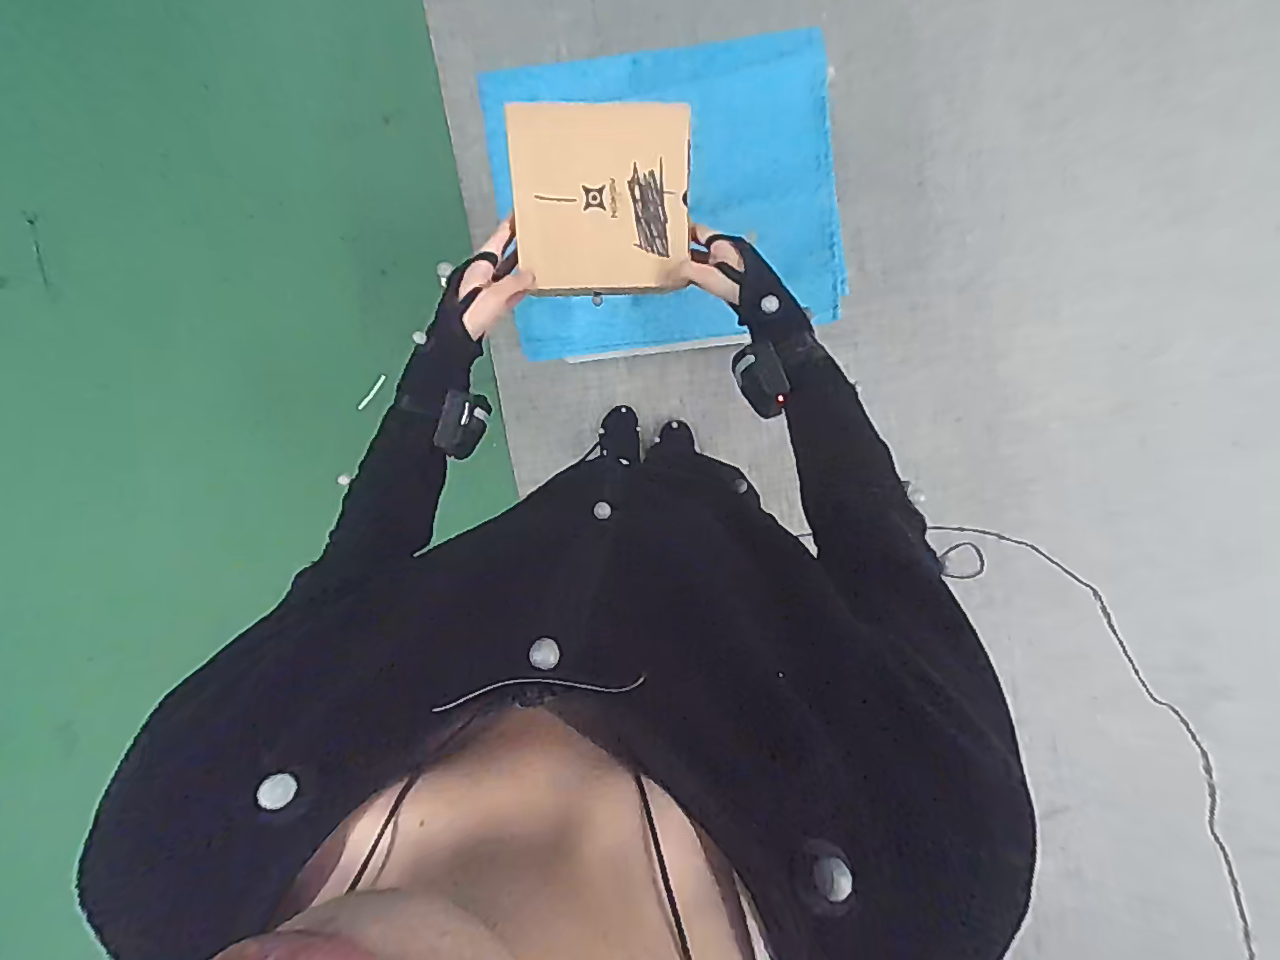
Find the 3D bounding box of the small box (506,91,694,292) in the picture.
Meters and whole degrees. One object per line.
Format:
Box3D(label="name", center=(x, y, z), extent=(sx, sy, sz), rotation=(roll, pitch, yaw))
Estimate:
Box3D(label="small box", center=(-0.044, -0.300, 0.596), extent=(0.179, 0.176, 0.168), rotation=(-3, 106, -5))
